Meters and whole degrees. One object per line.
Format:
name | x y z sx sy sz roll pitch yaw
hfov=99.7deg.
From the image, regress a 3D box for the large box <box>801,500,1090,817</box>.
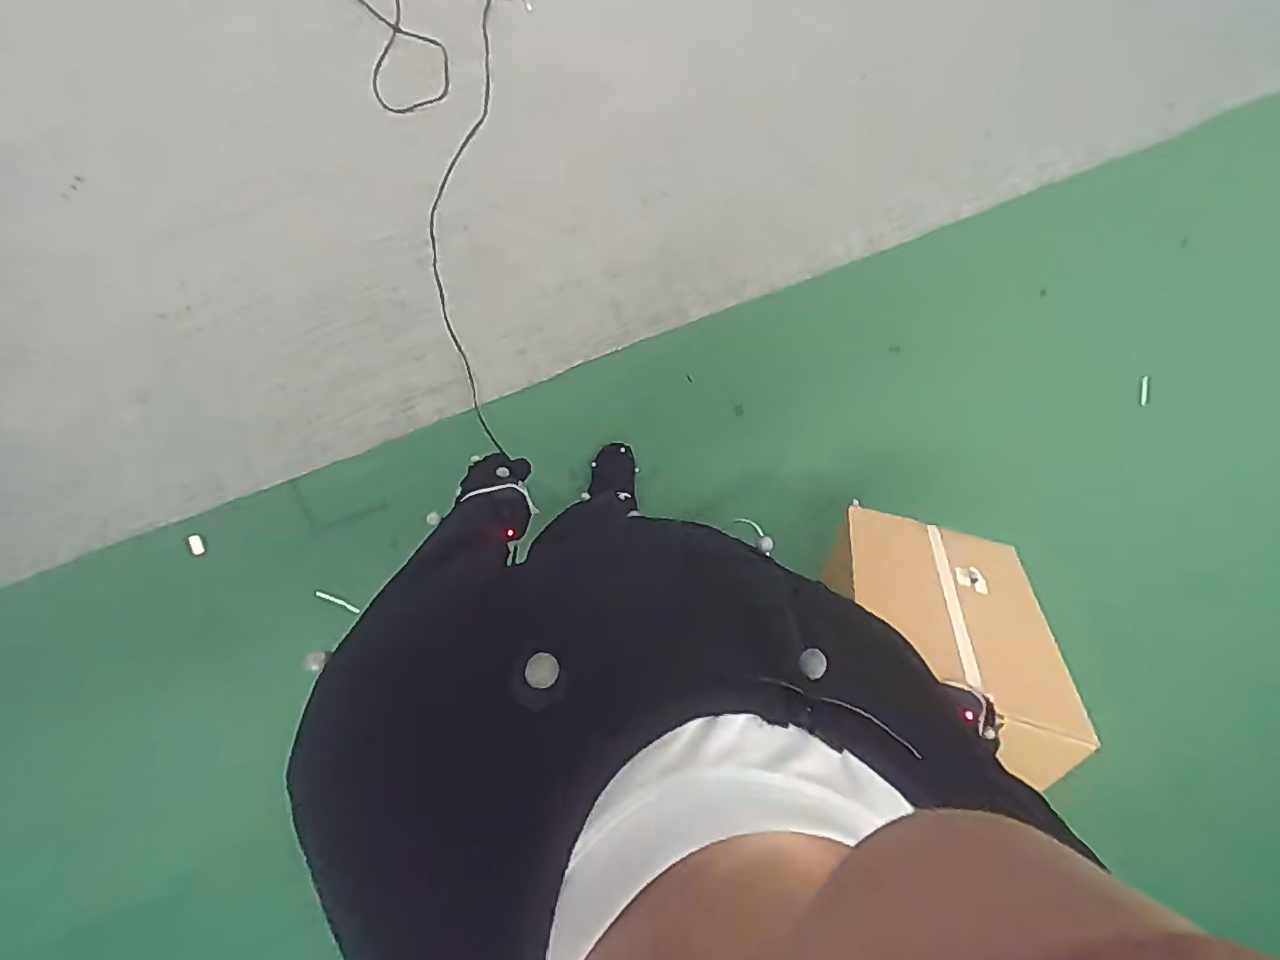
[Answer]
large box | 0.486 0.303 0.984 0.320 0.408 0.320 15 126 7
